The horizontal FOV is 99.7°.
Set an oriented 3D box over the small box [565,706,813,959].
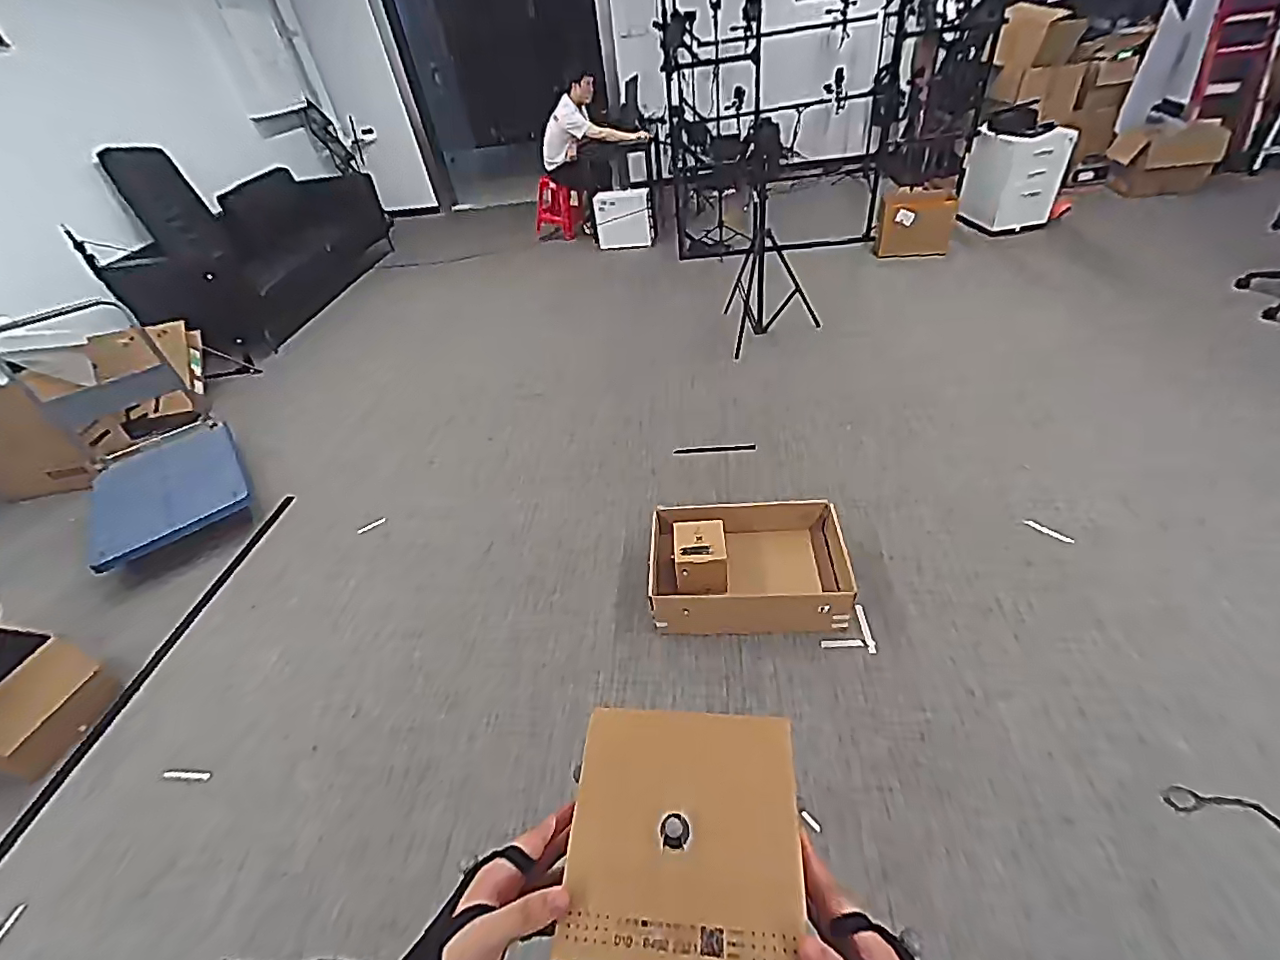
[{"bbox_3d":[0.044,0.307,0.447,0.168,0.179,0.176,-1,45,10],"label":"small box"}]
